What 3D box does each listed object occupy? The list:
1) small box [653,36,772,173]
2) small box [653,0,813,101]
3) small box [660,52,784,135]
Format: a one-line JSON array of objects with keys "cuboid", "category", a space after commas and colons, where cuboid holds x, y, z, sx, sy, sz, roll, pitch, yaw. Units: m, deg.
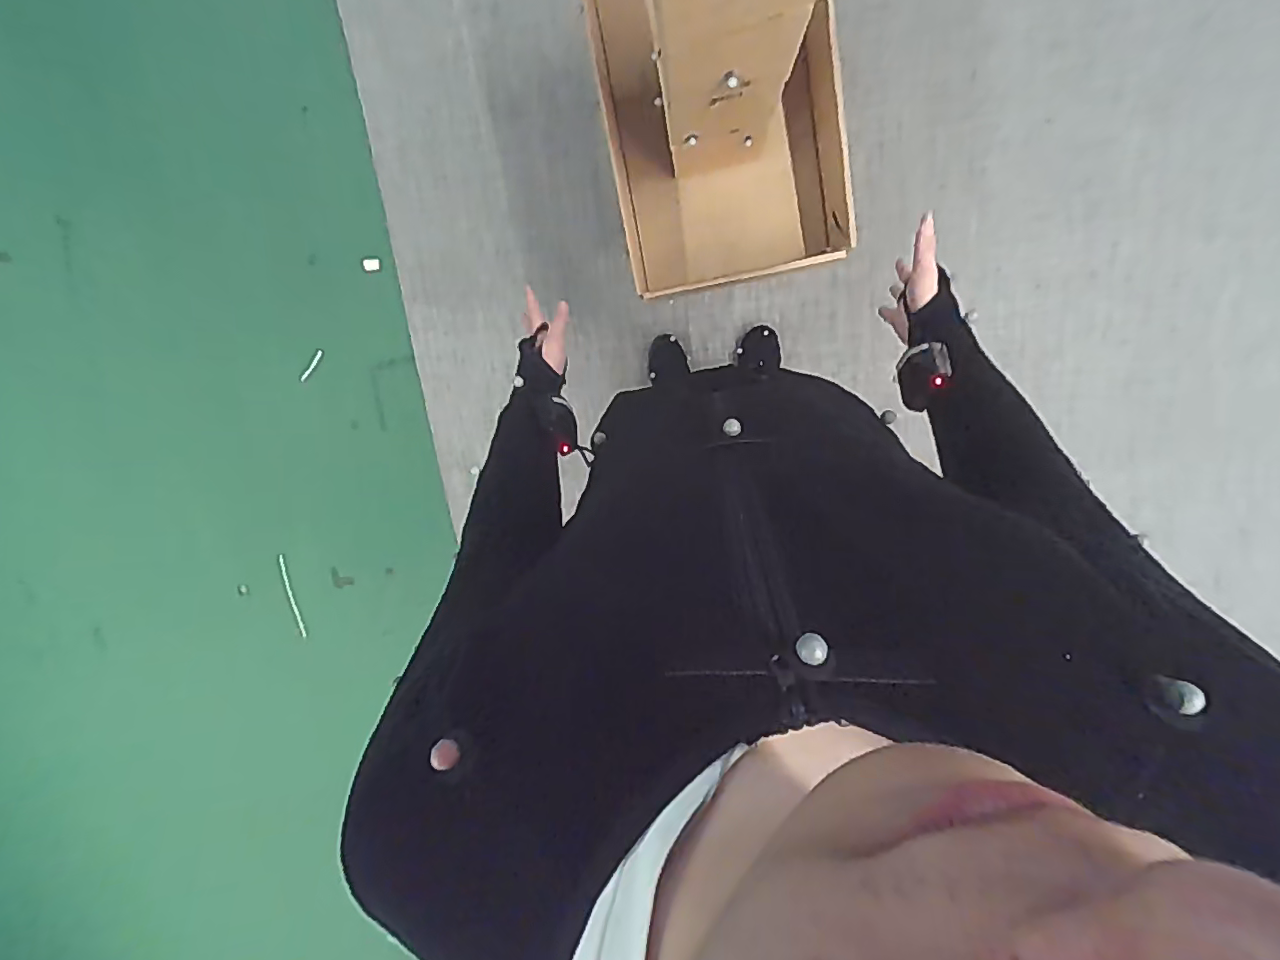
[{"cuboid": [0.128, -0.672, 0.959, 0.179, 0.176, 0.168, -9, 102, 7], "category": "small box"}, {"cuboid": [0.098, -0.597, 0.640, 0.168, 0.176, 0.179, -9, 103, 8], "category": "small box"}, {"cuboid": [0.114, -0.638, 0.799, 0.168, 0.176, 0.179, -7, 102, 7], "category": "small box"}]
